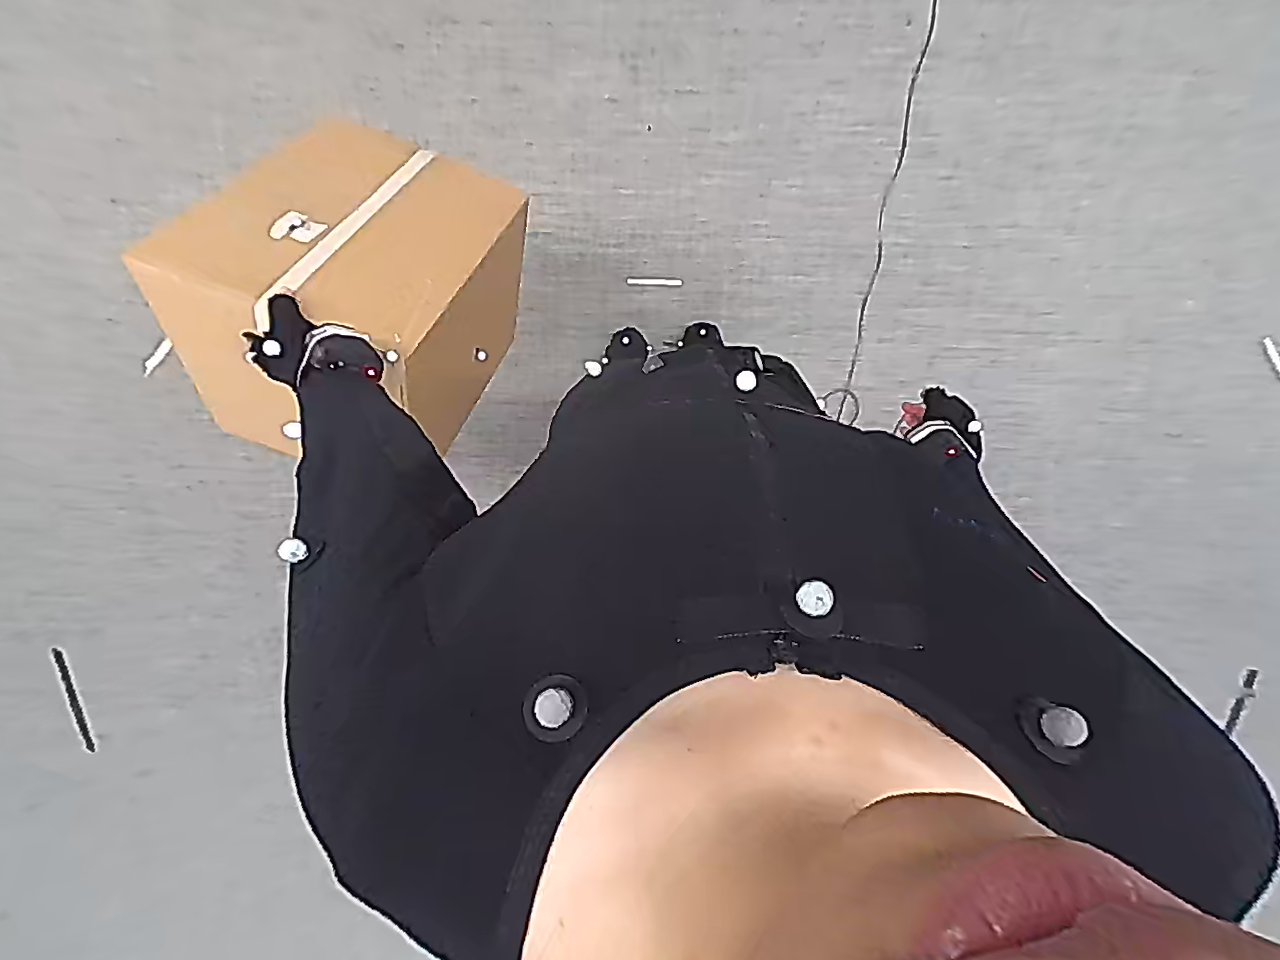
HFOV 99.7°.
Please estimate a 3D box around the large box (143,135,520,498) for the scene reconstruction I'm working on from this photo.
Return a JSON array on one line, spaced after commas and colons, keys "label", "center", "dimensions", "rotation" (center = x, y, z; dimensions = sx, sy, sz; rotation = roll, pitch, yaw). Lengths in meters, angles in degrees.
[{"label": "large box", "center": [-0.413, -0.250, 0.852], "dimensions": [0.320, 0.408, 0.320], "rotation": [20, 144, -4]}]
